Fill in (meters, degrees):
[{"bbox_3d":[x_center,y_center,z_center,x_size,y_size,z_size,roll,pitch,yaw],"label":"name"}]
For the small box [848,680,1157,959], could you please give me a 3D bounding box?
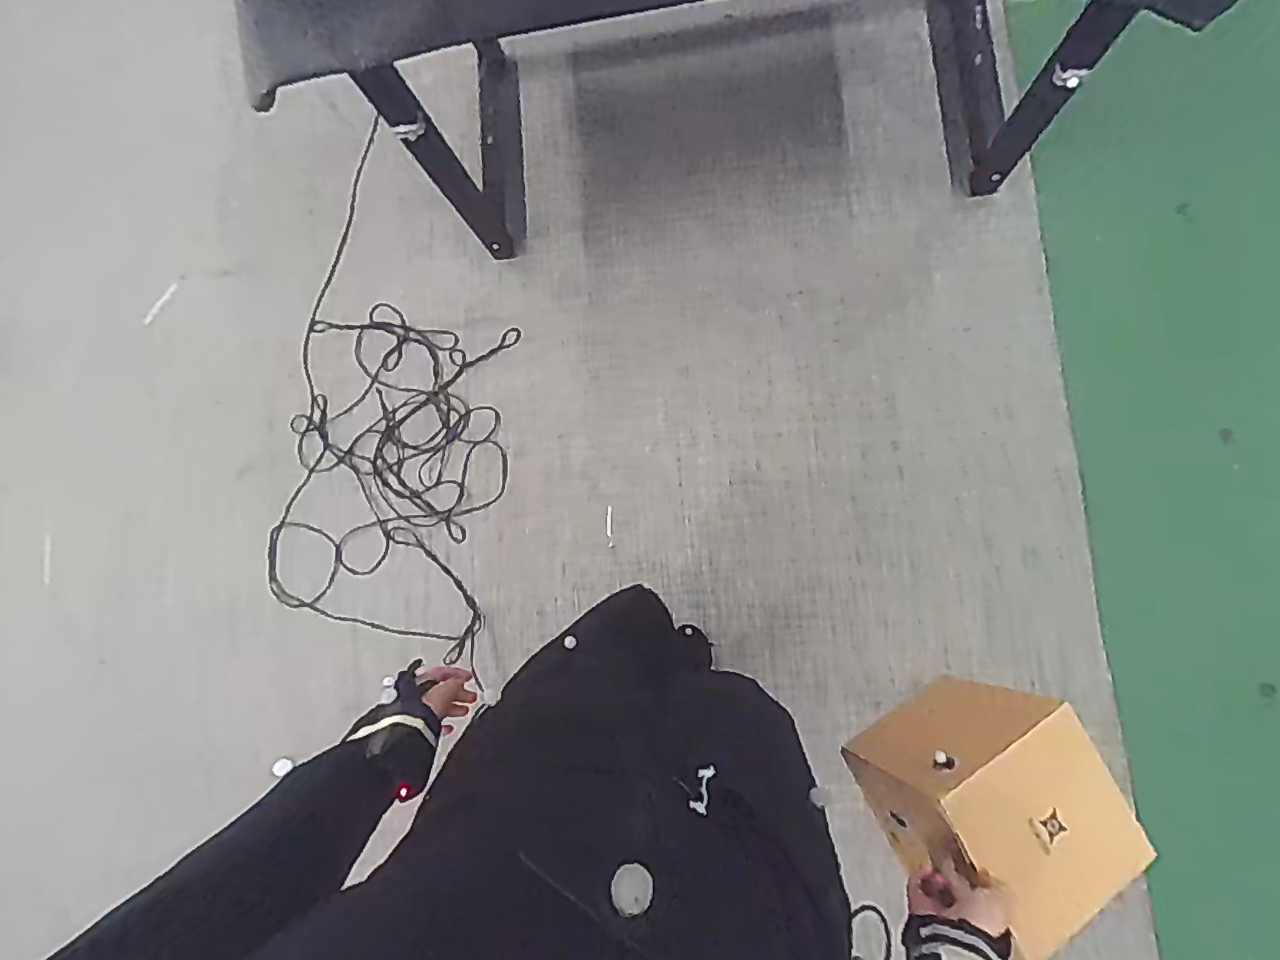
[{"bbox_3d":[0.363,0.337,0.572,0.179,0.176,0.168,-27,86,-13],"label":"small box"}]
